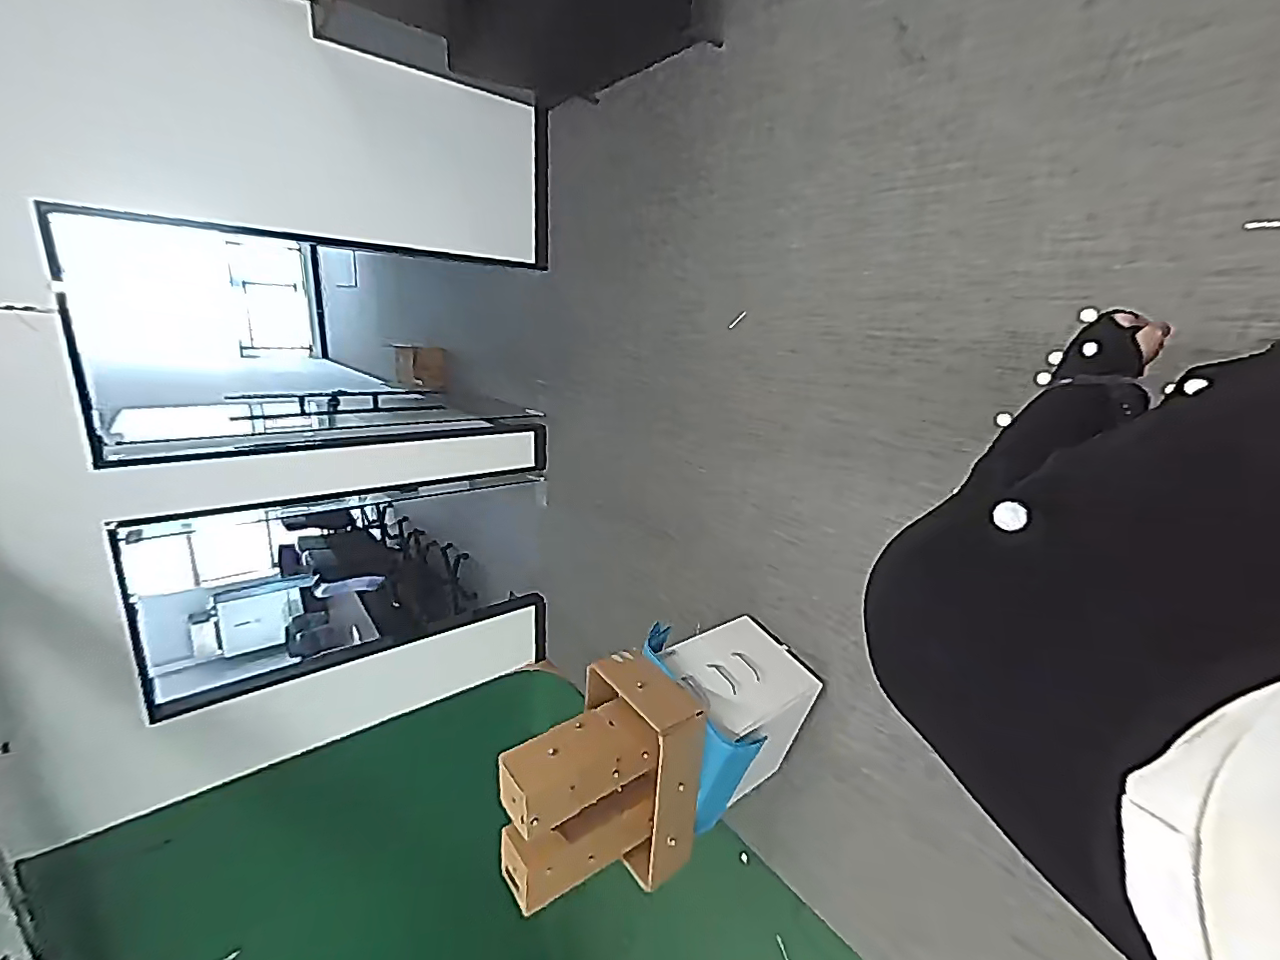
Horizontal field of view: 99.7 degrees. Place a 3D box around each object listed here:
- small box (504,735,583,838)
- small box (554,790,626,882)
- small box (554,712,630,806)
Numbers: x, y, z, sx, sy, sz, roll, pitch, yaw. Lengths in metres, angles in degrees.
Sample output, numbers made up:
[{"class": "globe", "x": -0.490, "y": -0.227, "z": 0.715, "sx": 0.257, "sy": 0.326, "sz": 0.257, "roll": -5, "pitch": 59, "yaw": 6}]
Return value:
[{"class": "small box", "x": -0.279, "y": 0.869, "z": 1.558, "sx": 0.179, "sy": 0.176, "sz": 0.168, "roll": 22, "pitch": 116, "yaw": 50}, {"class": "small box", "x": -0.160, "y": 1.108, "z": 1.721, "sx": 0.168, "sy": 0.176, "sz": 0.179, "roll": 21, "pitch": 113, "yaw": 49}, {"class": "small box", "x": -0.150, "y": 0.841, "z": 1.653, "sx": 0.179, "sy": 0.176, "sz": 0.168, "roll": 22, "pitch": 116, "yaw": 49}]
